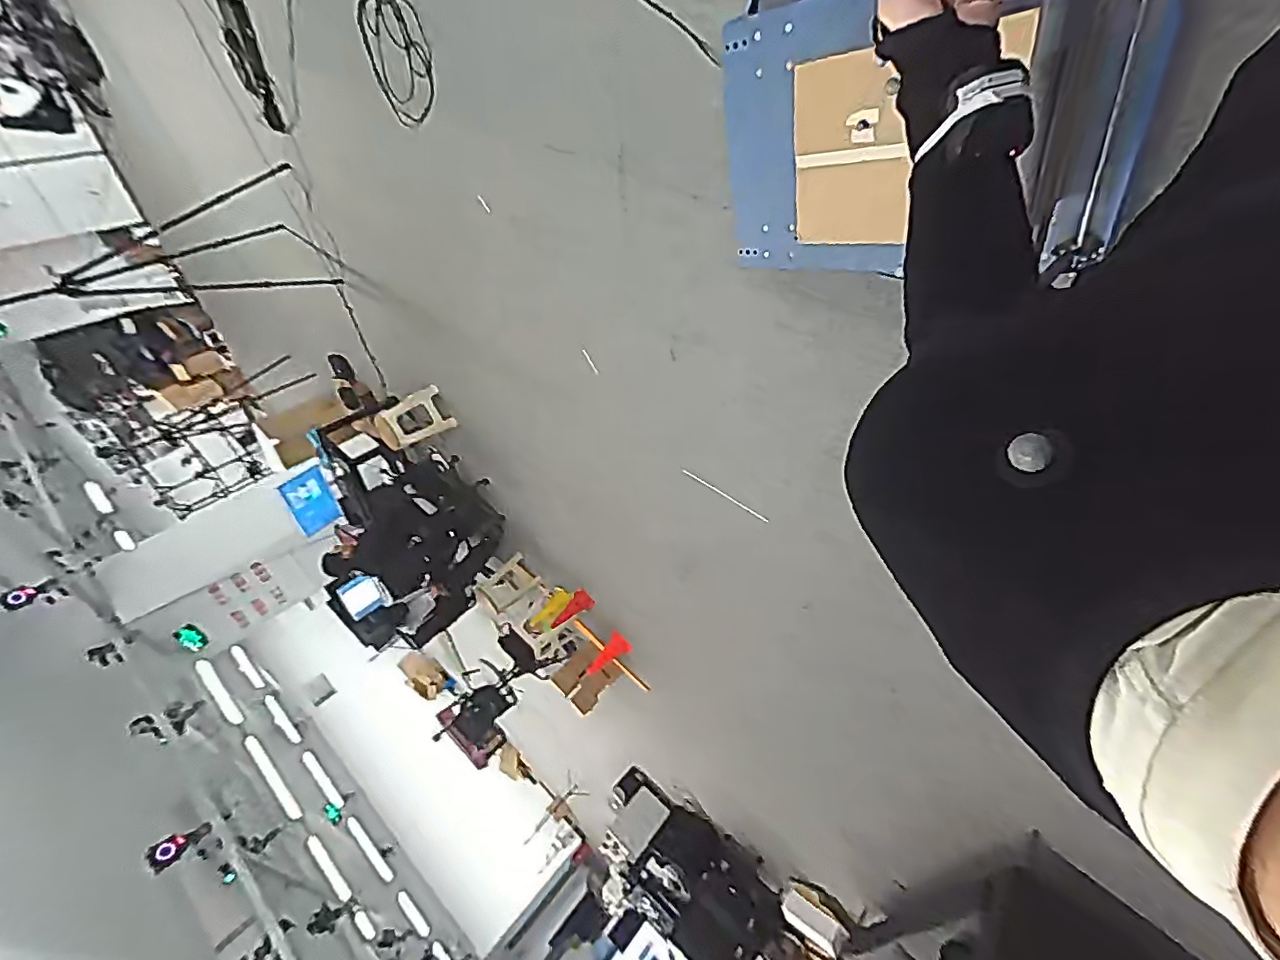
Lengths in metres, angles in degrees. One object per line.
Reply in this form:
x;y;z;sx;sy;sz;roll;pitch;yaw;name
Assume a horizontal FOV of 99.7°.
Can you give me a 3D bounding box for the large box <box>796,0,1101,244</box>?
0.556;-0.653;1.021;0.408;0.320;0.320;21;135;40;large box
